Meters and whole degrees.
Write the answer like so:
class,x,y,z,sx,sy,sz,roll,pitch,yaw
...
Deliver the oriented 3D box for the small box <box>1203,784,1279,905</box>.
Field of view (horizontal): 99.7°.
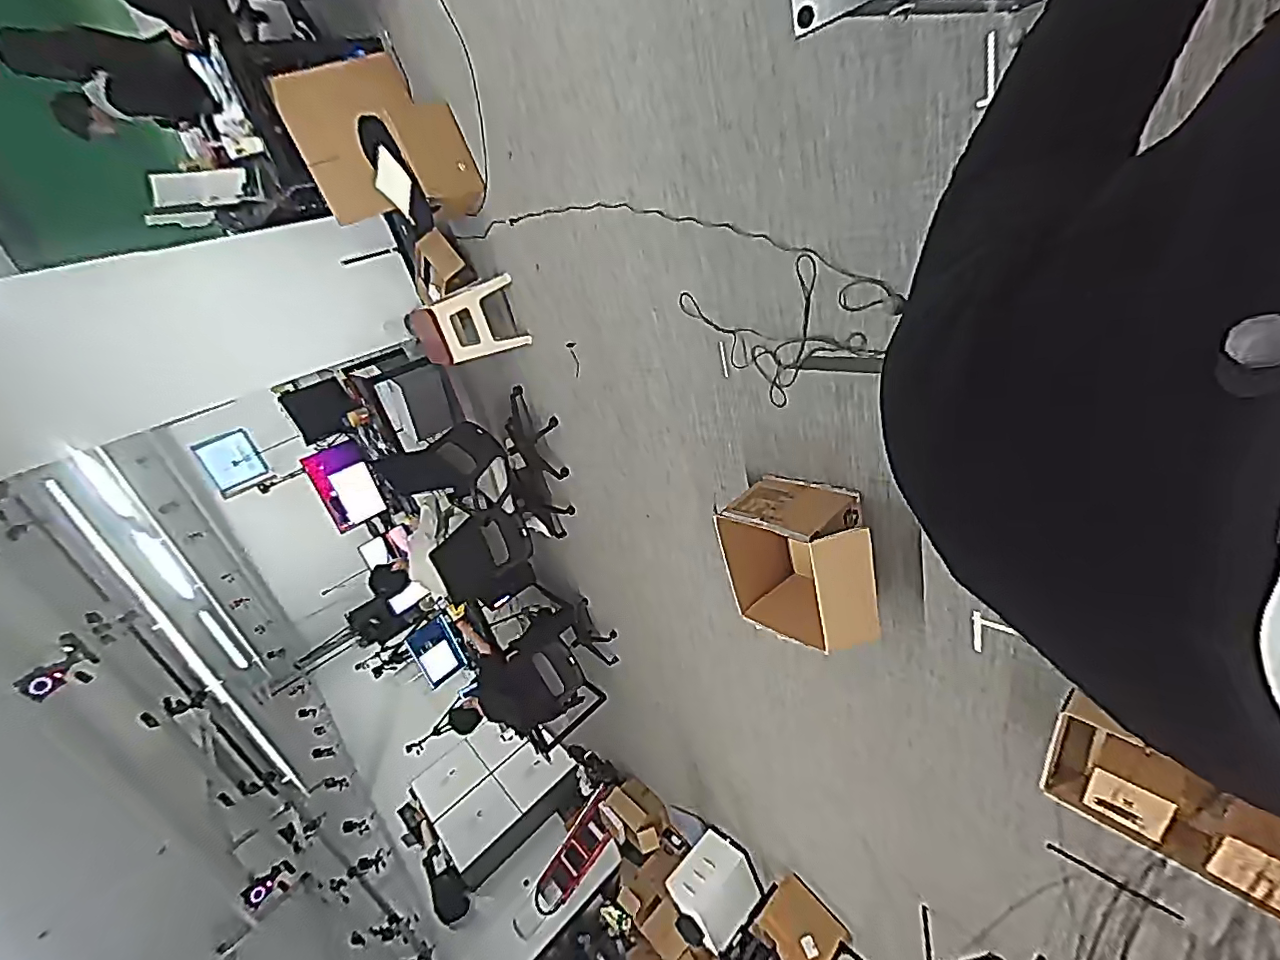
class,x,y,z,sx,sy,sz,roll,pitch,yaw
small box,1.550,0.902,1.332,0.179,0.176,0.168,22,132,46
